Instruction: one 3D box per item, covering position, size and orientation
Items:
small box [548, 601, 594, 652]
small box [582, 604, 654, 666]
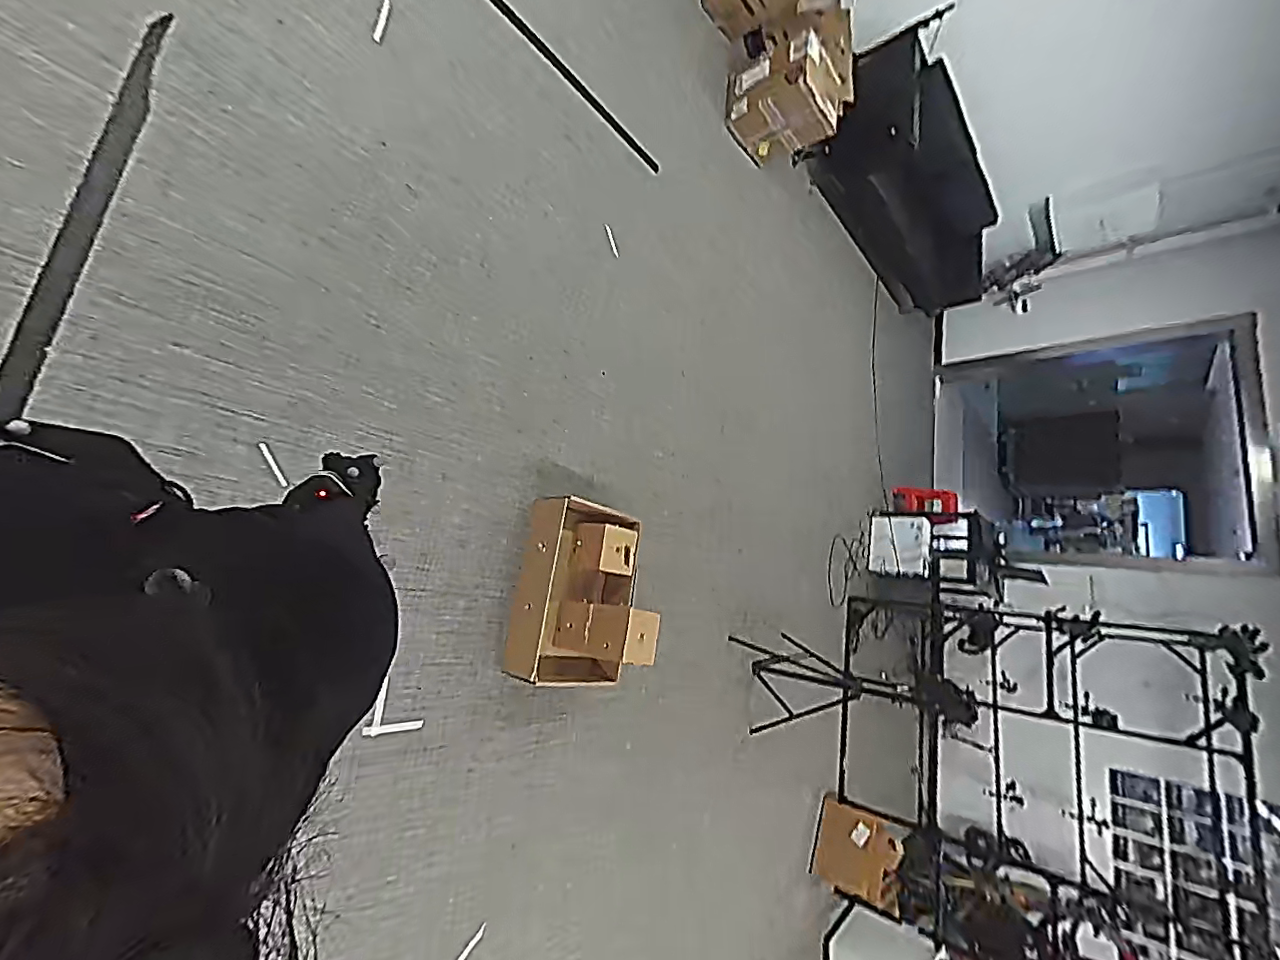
[{"bbox_3d":[-0.205,0.529,1.936,0.179,0.176,0.168,24,66,-44],"label":"small box"},{"bbox_3d":[-0.078,0.523,1.831,0.168,0.176,0.179,26,66,-47],"label":"small box"}]
